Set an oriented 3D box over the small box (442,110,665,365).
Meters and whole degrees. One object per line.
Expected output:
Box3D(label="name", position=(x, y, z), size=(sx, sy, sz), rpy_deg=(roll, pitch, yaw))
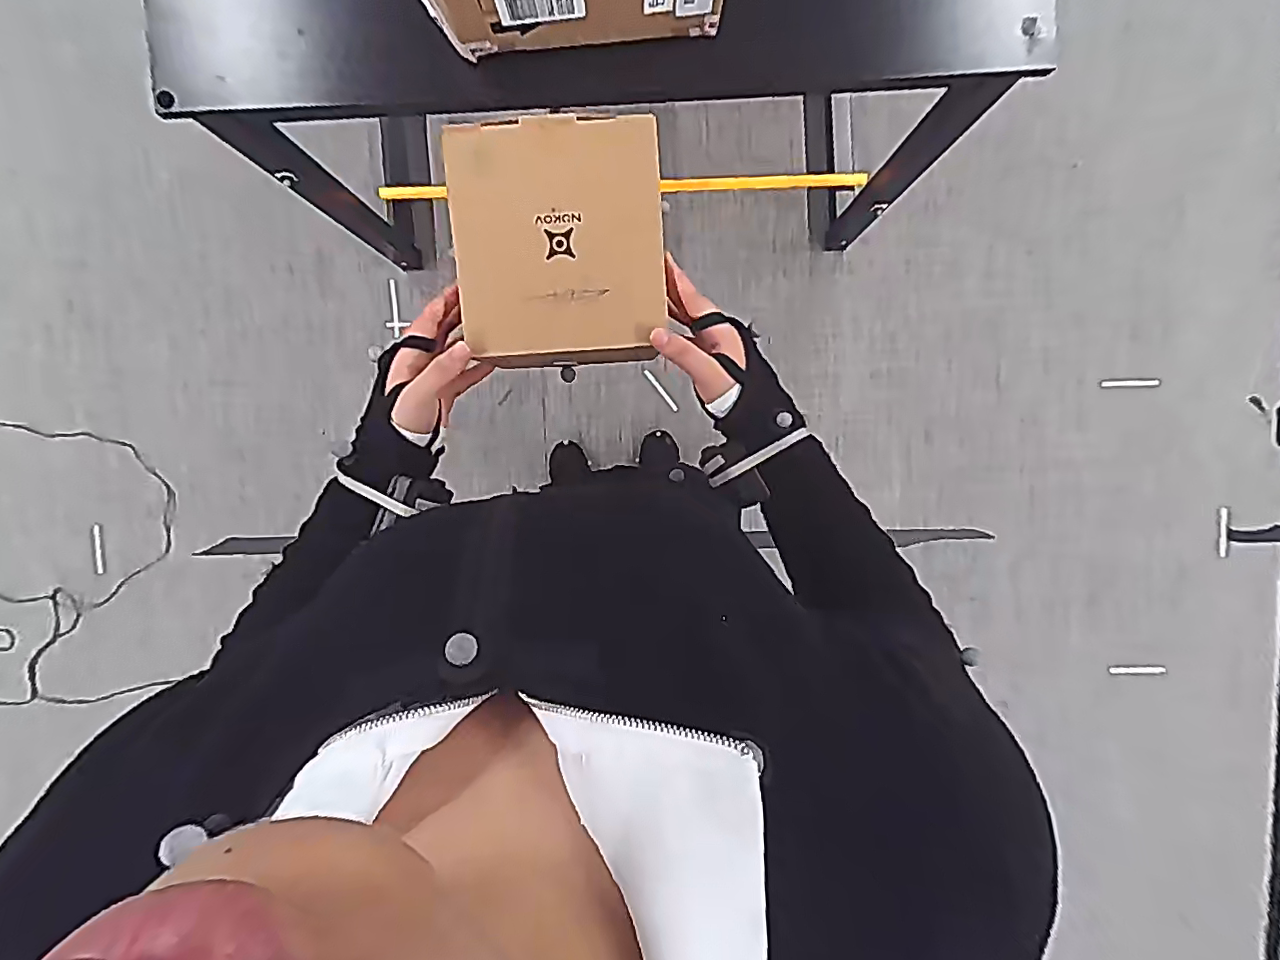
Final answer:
Box3D(label="small box", position=(-0.069, -0.204, 0.501), size=(0.168, 0.176, 0.179), rpy_deg=(-4, 99, -2))
